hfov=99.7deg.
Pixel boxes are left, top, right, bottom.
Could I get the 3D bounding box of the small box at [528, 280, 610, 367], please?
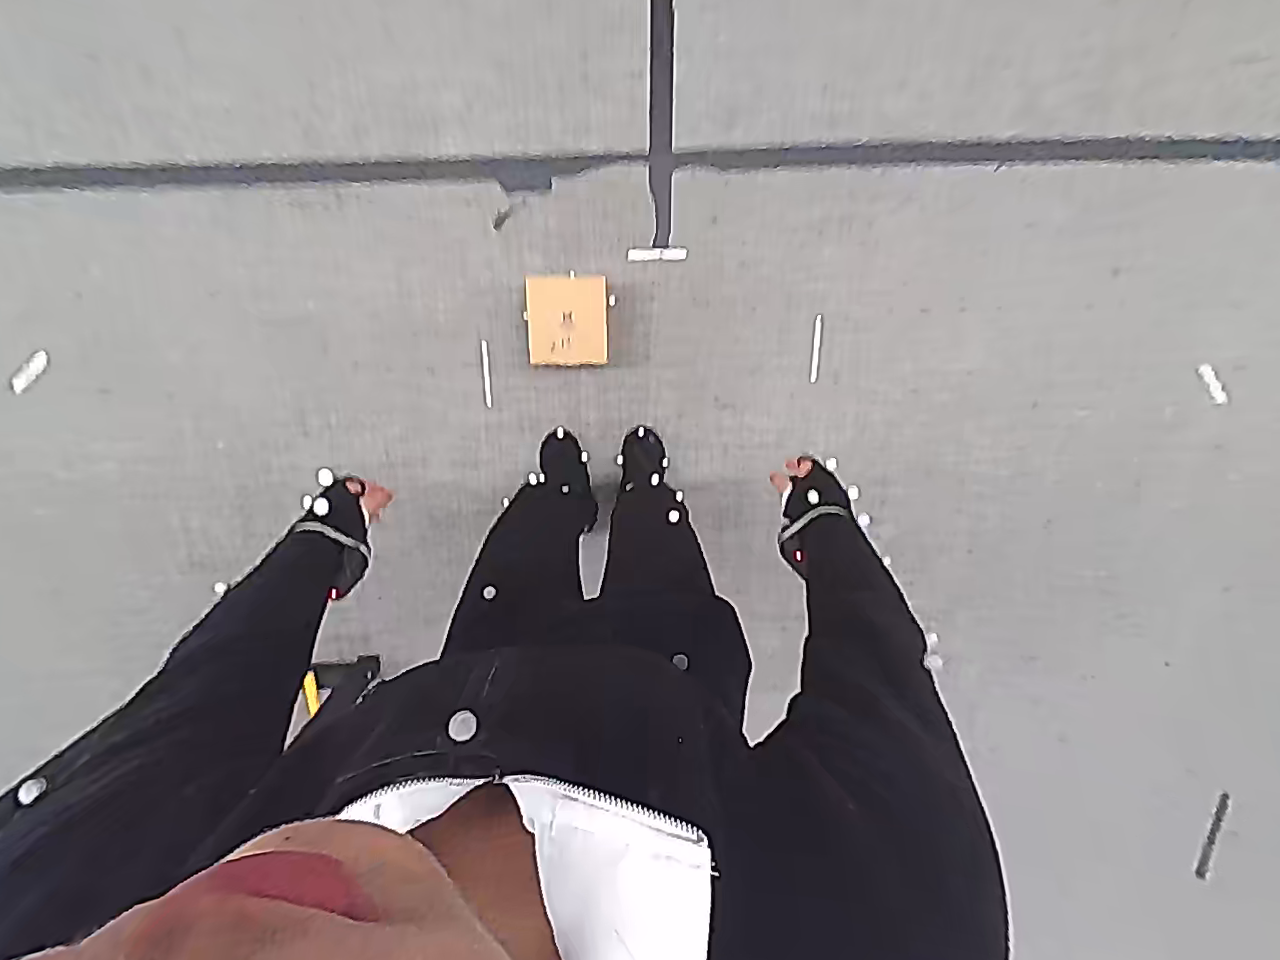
[{"bbox_3d":[-0.153,-0.347,1.208,0.168,0.176,0.179,0,106,-1],"label":"small box"}]
